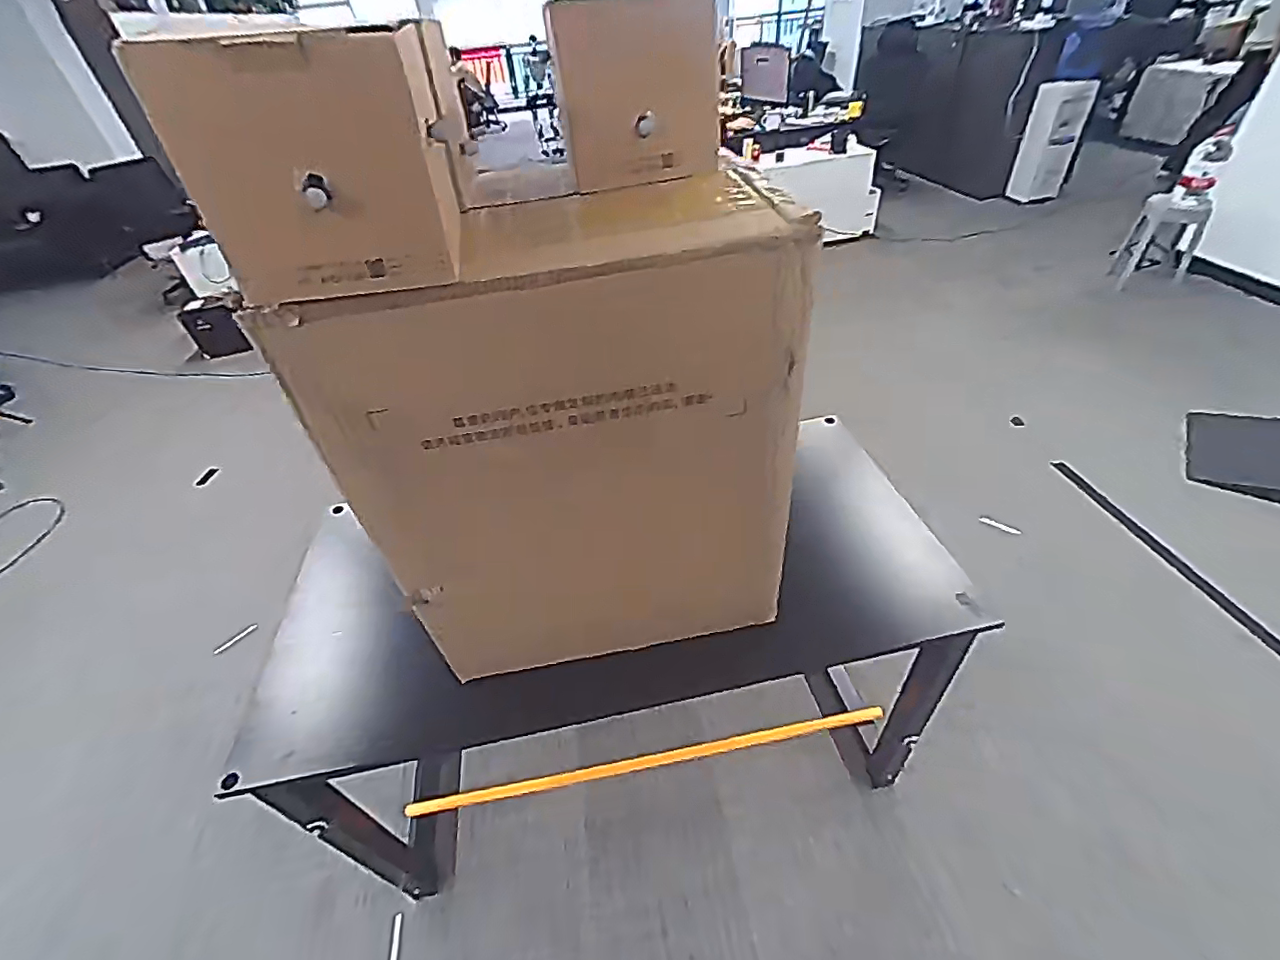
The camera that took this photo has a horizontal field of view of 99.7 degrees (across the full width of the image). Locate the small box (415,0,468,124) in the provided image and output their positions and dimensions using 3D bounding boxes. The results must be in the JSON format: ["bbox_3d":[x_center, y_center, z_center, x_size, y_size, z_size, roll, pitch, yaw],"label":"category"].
[{"bbox_3d":[-0.281,-0.437,0.518,0.179,0.176,0.168,-8,41,-5],"label":"small box"}]

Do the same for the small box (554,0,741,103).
[{"bbox_3d":[-0.002,-0.496,0.548,0.168,0.176,0.179,-12,40,-4],"label":"small box"}]

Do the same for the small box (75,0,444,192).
[{"bbox_3d":[-0.238,-0.307,0.366,0.168,0.176,0.179,-11,45,-10],"label":"small box"}]
